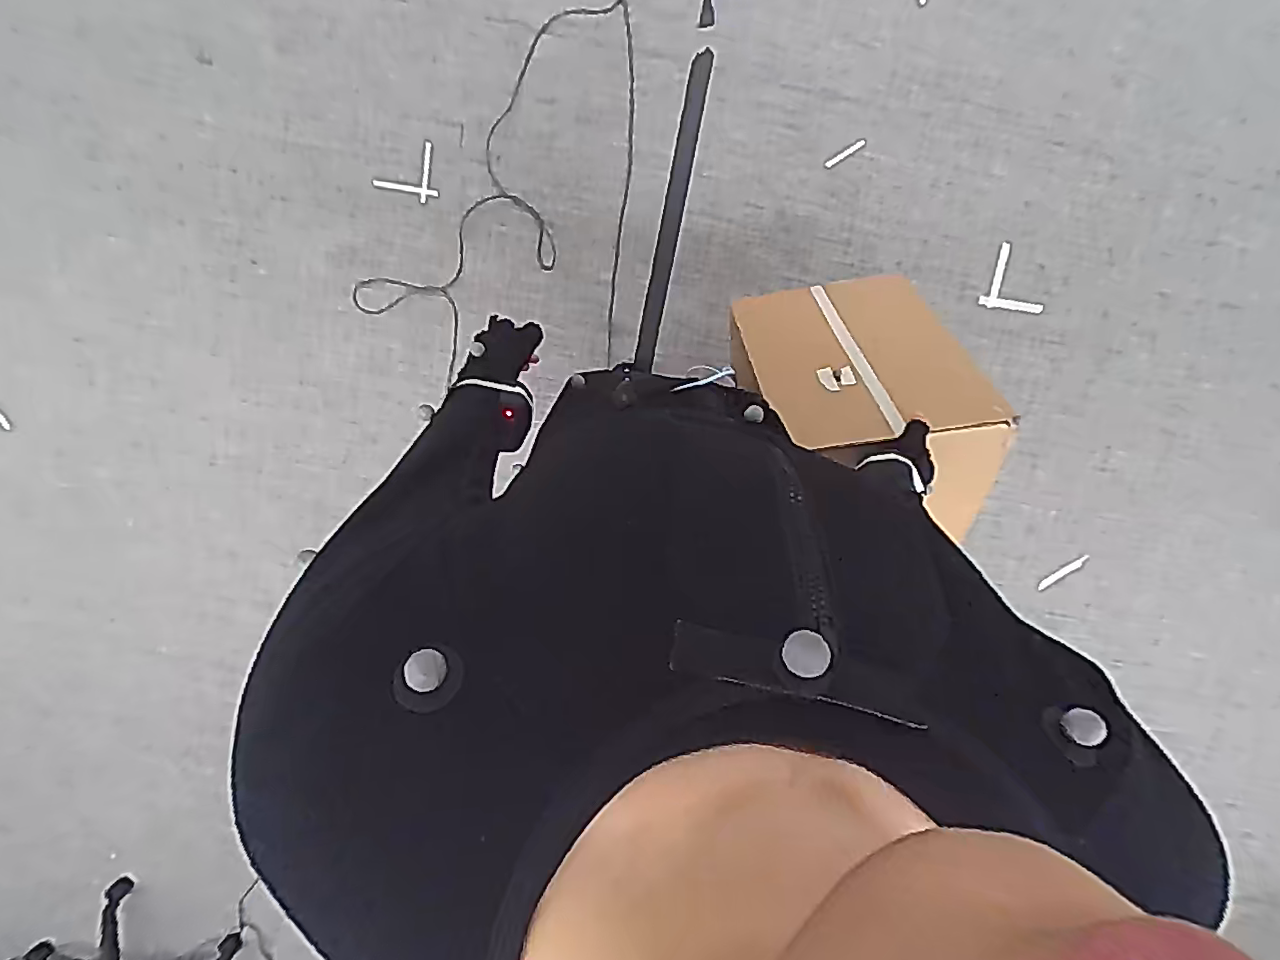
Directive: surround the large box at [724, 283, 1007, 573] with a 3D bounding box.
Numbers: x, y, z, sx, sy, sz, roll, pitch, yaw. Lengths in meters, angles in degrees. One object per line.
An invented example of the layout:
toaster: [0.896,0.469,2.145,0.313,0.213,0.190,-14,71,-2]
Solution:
large box: [0.342,-0.097,0.971,0.320,0.408,0.320,-9,138,2]
